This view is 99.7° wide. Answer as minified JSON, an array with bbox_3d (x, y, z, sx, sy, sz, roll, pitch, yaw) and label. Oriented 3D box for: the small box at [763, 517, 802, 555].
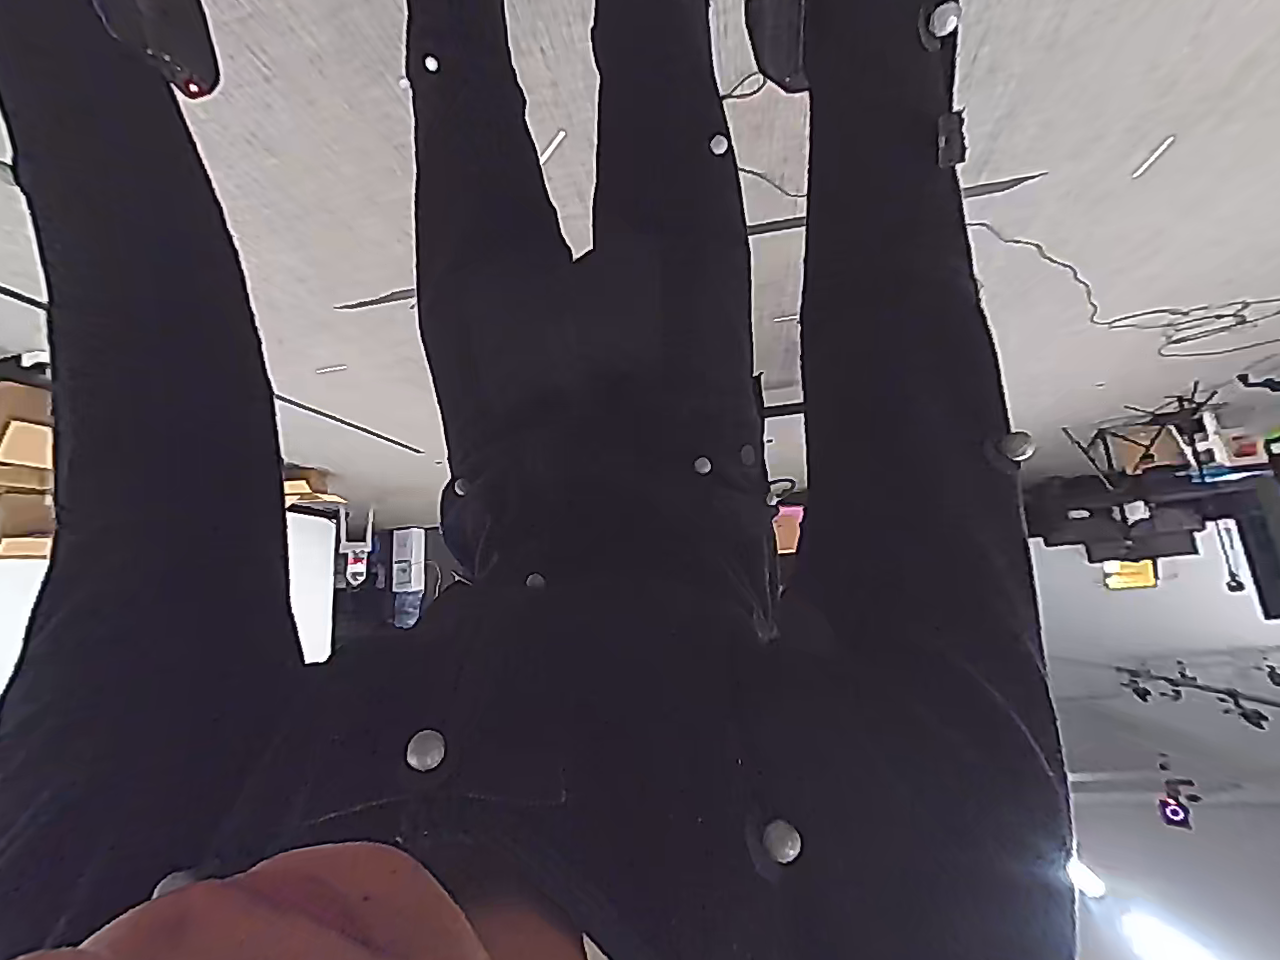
[{"bbox_3d":[0.710,0.281,2.697,0.168,0.176,0.179,-7,167,13],"label":"small box"}]
